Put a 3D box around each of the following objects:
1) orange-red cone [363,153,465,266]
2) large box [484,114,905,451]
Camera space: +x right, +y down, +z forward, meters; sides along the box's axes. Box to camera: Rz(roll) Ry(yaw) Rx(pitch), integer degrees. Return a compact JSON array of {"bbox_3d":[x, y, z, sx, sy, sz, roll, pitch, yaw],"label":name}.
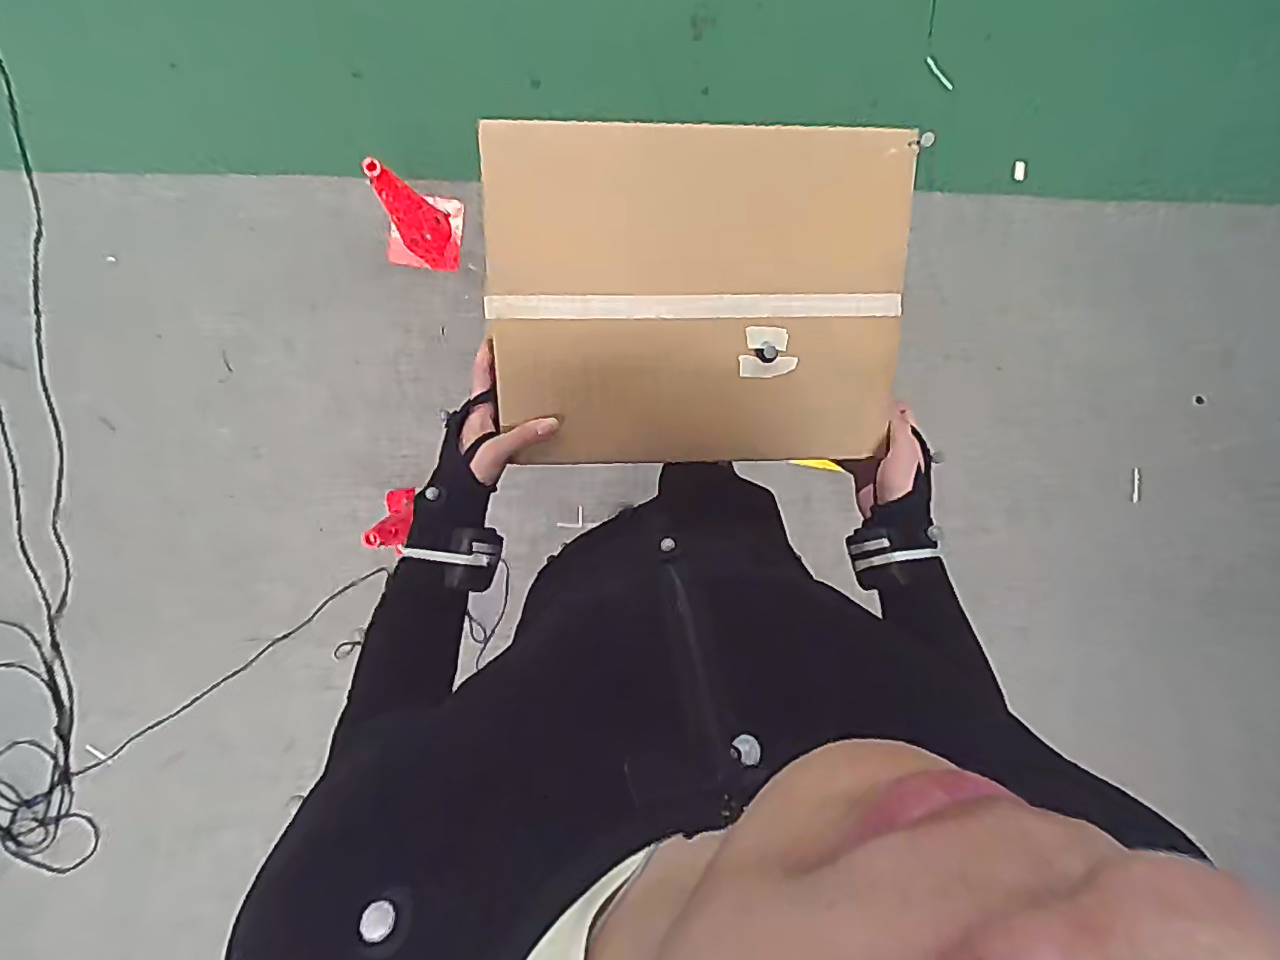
[{"bbox_3d":[-0.603,-0.711,1.370,0.199,0.360,0.198,8,92,-1],"label":"orange-red cone"},{"bbox_3d":[0.047,-0.223,0.680,0.408,0.320,0.320,-2,105,-4],"label":"large box"}]
